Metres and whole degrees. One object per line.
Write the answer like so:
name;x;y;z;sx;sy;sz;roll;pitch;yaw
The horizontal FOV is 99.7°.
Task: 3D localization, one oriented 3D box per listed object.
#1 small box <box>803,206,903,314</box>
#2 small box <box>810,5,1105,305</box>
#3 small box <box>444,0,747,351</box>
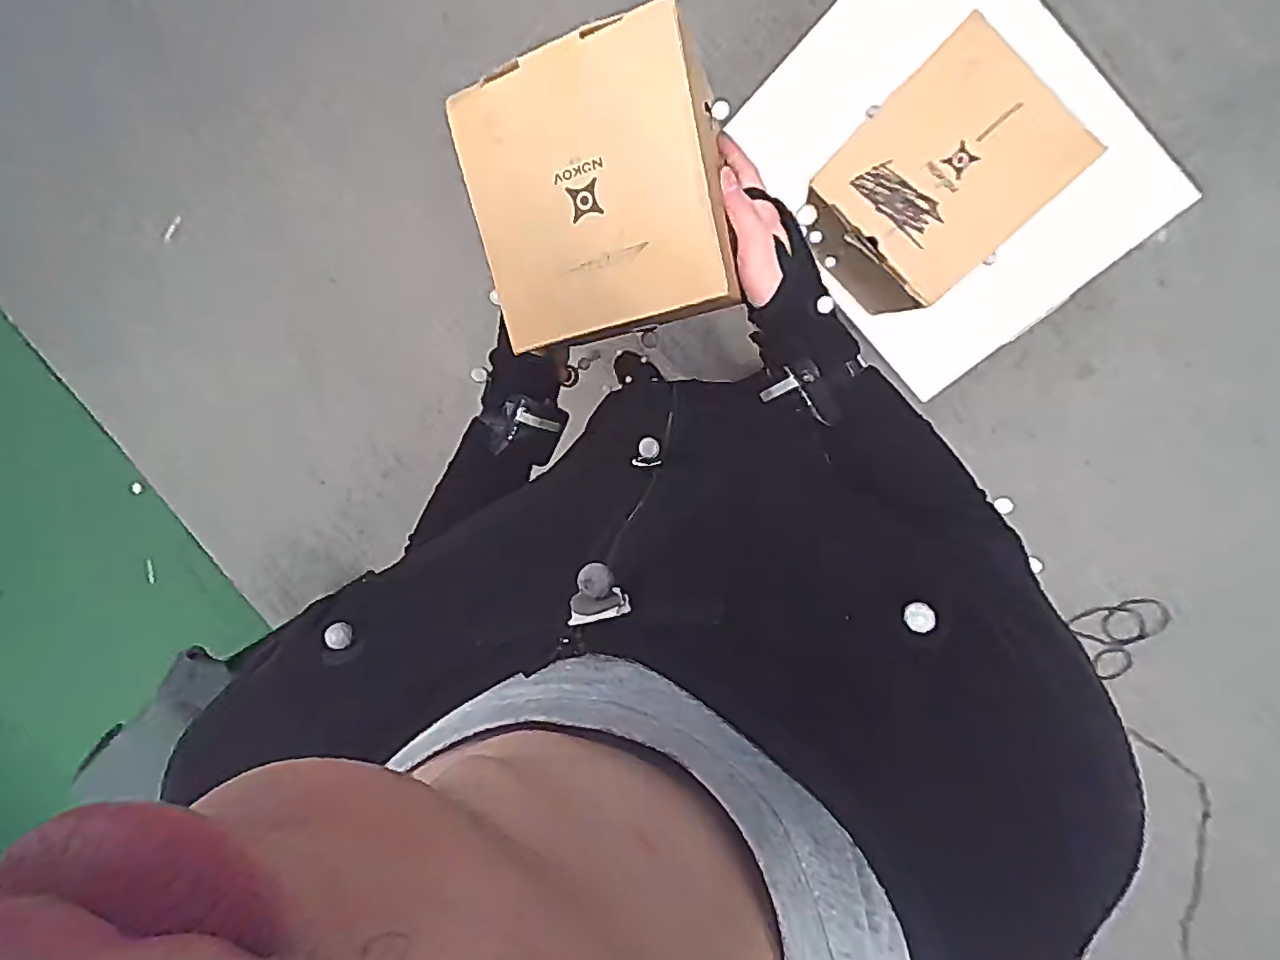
small box;0.331;-0.340;0.705;0.168;0.176;0.179;45;109;0
small box;0.293;-0.298;0.551;0.168;0.176;0.179;46;109;-1
small box;-0.017;-0.211;0.432;0.168;0.176;0.179;-11;103;19
